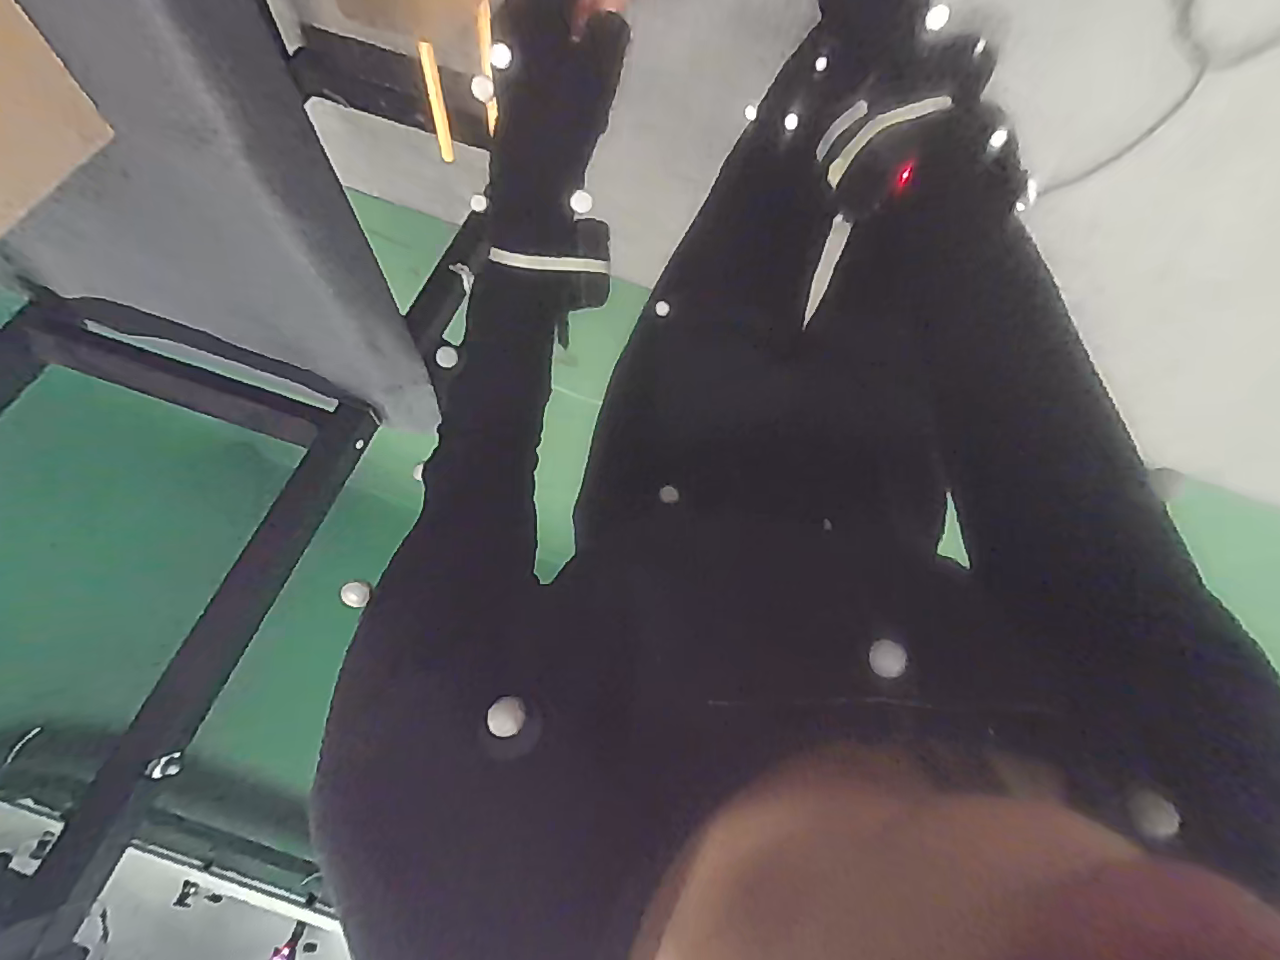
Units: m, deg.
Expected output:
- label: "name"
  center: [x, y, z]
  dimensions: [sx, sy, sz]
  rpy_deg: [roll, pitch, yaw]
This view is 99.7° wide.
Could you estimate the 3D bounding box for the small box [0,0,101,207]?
- label: "small box"
  center: [-0.548, -0.298, 0.364]
  dimensions: [0.168, 0.176, 0.179]
  rpy_deg: [20, 155, -2]
